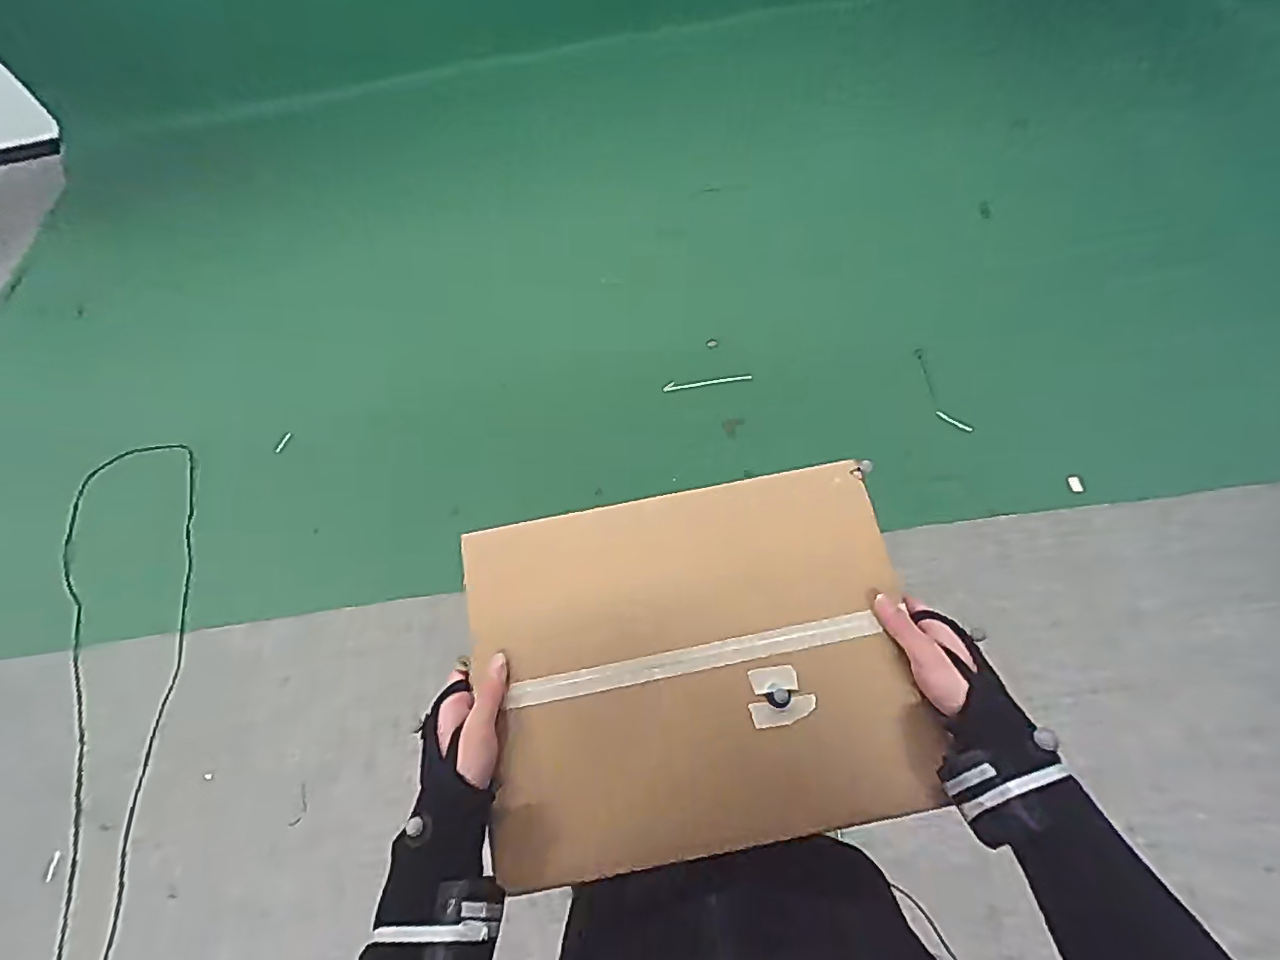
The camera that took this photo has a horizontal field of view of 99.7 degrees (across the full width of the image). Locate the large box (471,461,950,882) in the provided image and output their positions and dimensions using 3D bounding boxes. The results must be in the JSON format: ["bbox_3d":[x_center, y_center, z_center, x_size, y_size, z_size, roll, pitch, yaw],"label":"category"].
[{"bbox_3d":[0.054,0.208,0.653,0.408,0.320,0.320,-11,73,-2],"label":"large box"}]
